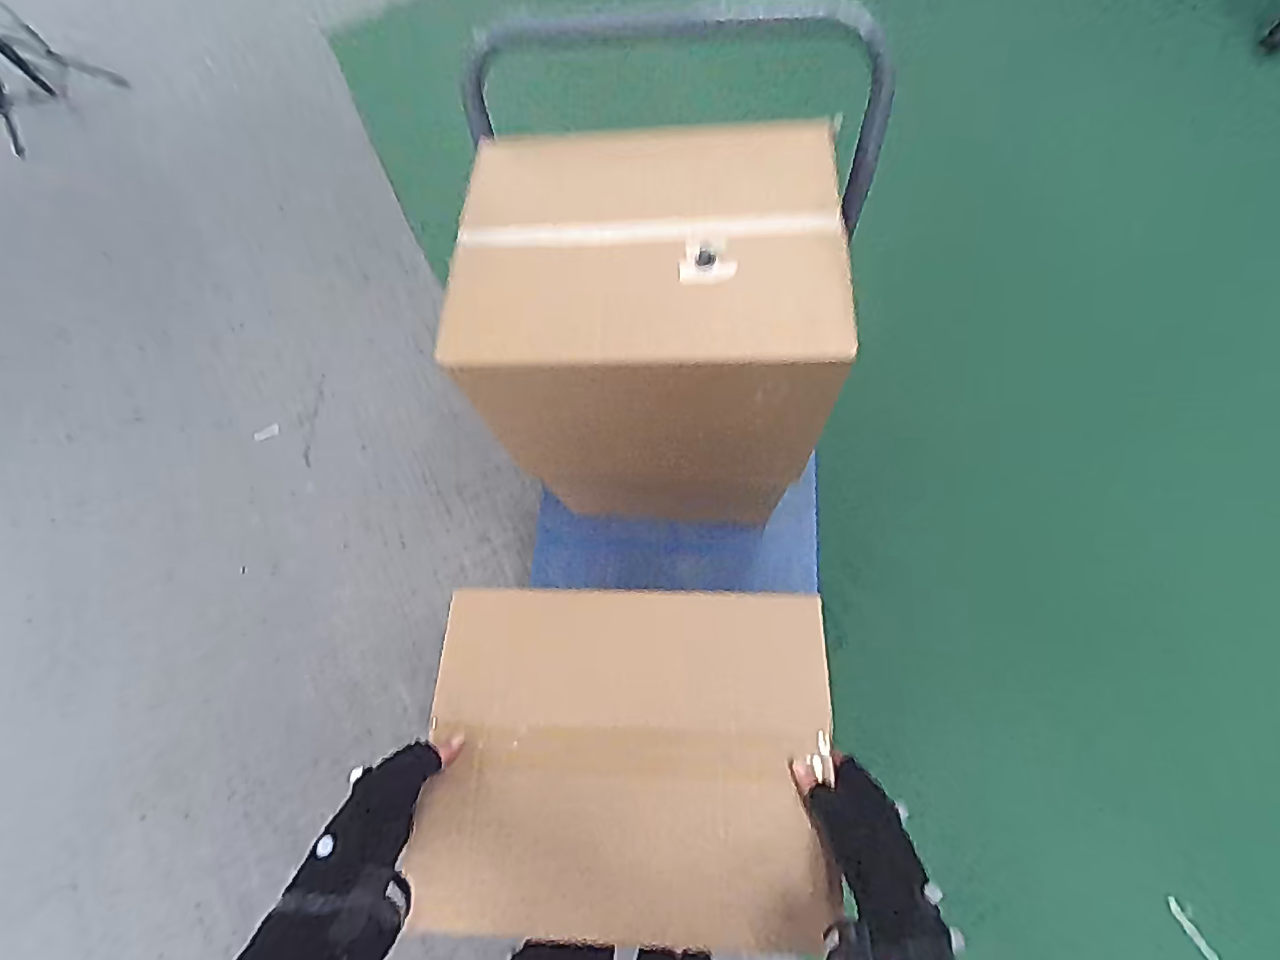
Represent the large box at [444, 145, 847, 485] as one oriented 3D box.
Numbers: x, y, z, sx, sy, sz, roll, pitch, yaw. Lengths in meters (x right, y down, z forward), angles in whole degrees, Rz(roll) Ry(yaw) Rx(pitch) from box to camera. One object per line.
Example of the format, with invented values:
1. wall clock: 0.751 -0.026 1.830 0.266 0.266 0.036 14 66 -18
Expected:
1. large box: 0.015 -0.191 0.718 0.408 0.320 0.320 1 67 5
